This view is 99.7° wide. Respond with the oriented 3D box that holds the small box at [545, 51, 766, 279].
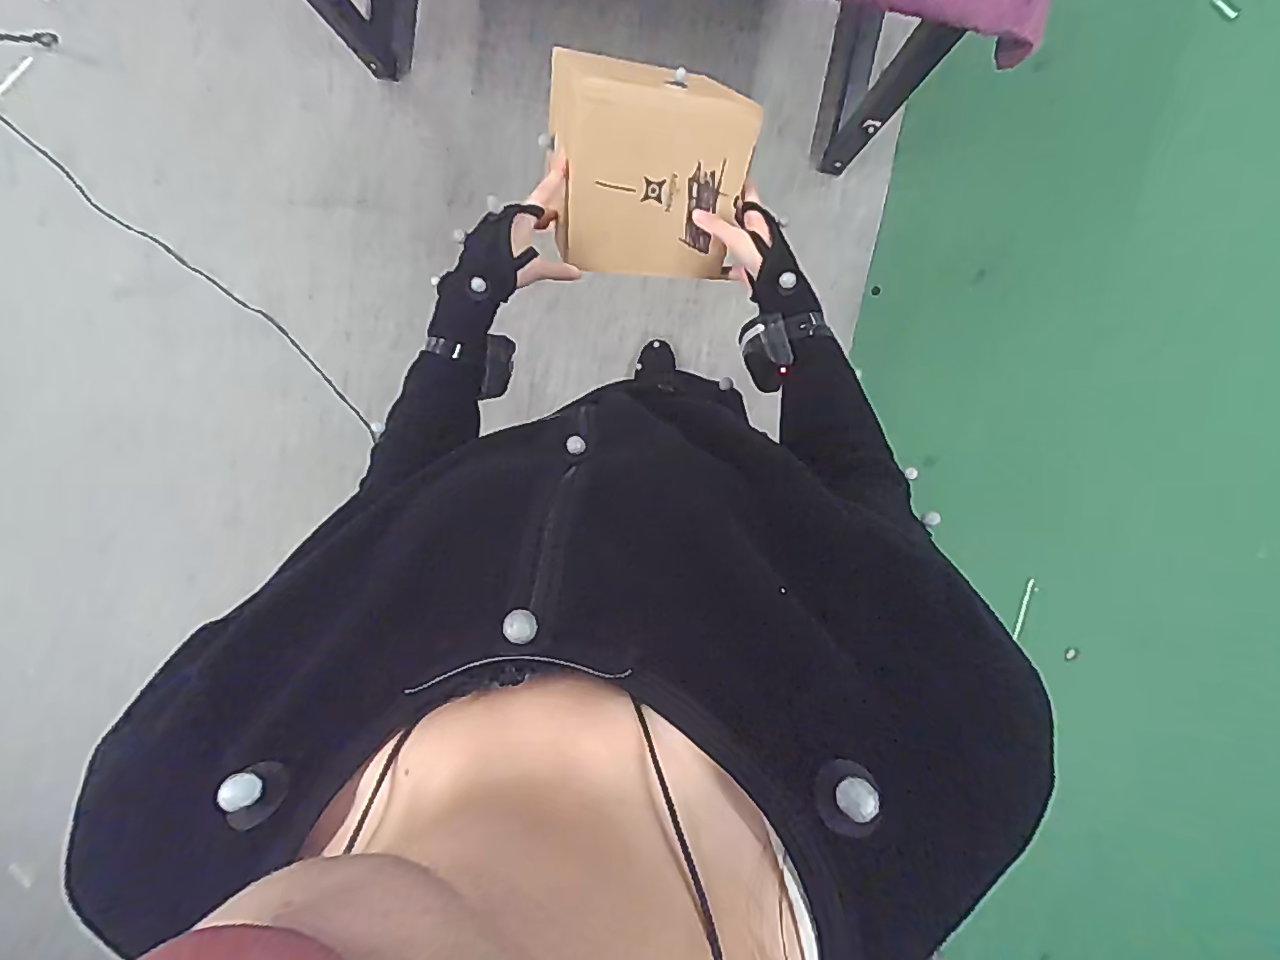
[{"bbox_3d":[0.001,-0.335,0.578,0.179,0.176,0.168,-2,134,-17],"label":"small box"}]
